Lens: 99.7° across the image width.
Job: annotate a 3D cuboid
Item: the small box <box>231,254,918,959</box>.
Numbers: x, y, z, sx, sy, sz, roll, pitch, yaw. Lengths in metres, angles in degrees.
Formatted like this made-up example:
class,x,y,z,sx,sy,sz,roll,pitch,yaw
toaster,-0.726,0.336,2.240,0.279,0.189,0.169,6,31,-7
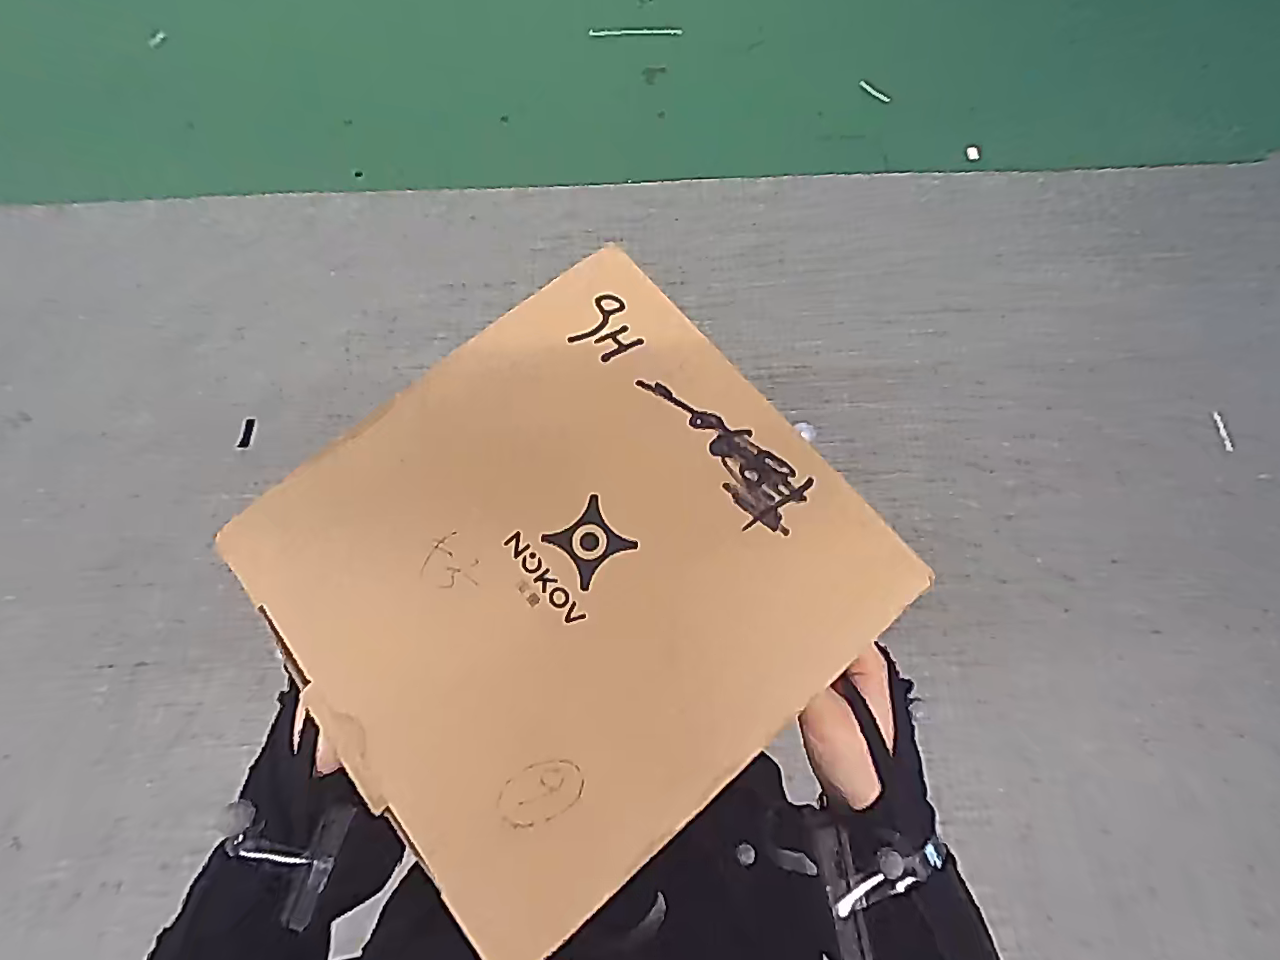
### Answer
class,x,y,z,sx,sy,sz,roll,pitch,yaw
small box,-0.022,0.045,0.257,0.179,0.176,0.168,-40,79,-8
